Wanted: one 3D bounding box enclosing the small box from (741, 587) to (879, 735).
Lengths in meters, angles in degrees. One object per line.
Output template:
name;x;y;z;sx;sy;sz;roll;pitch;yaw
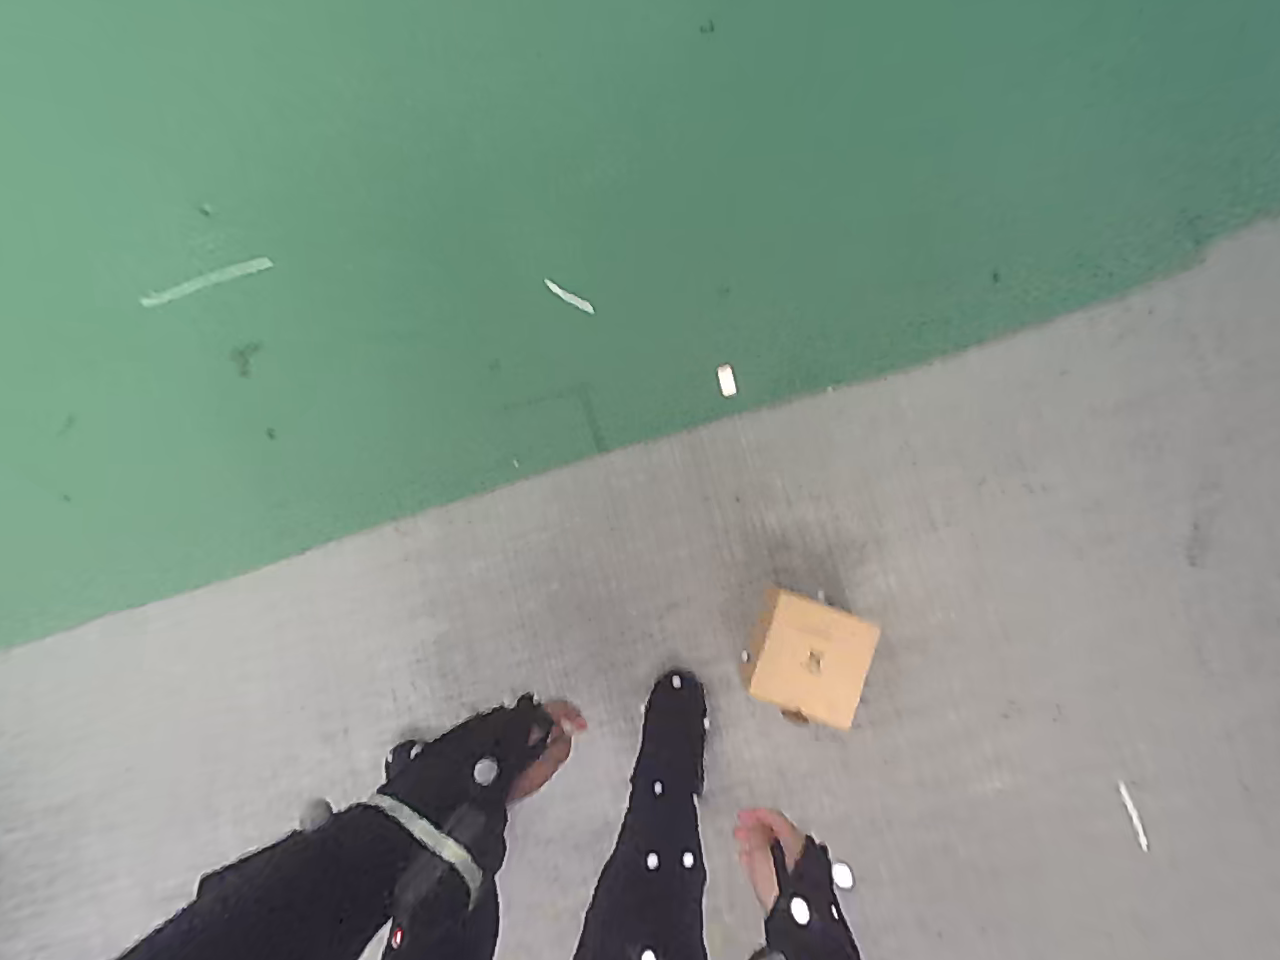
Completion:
small box;0.279;0.297;0.929;0.168;0.176;0.179;19;85;6
